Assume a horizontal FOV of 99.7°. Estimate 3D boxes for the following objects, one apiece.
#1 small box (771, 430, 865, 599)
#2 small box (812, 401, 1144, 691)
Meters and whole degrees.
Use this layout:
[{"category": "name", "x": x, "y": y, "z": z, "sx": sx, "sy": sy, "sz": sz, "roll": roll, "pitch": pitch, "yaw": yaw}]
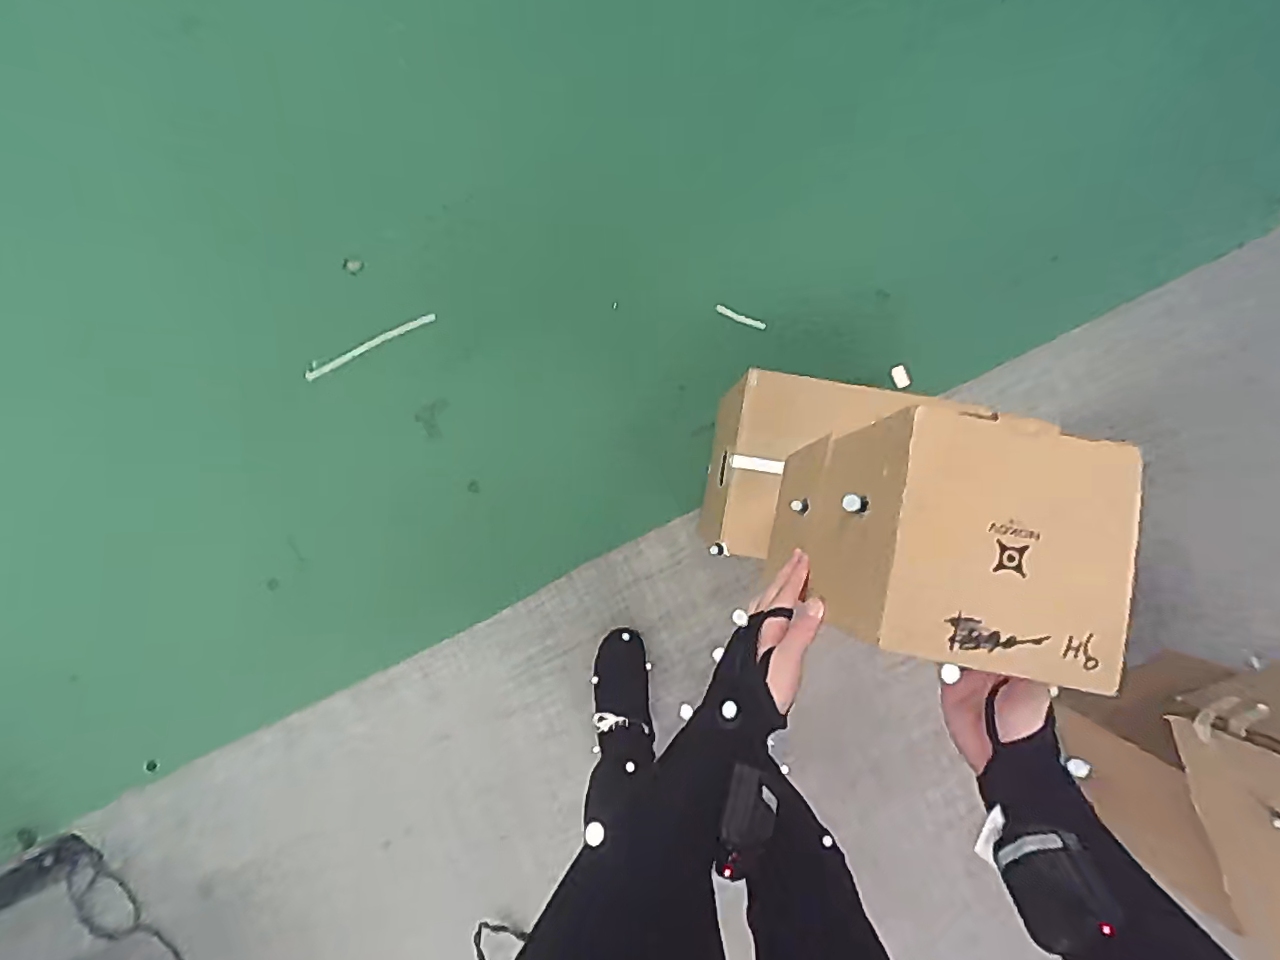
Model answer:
[{"category": "small box", "x": 0.259, "y": 0.056, "z": 0.617, "sx": 0.168, "sy": 0.176, "sz": 0.179, "roll": 12, "pitch": 85, "yaw": 1}, {"category": "small box", "x": 0.259, "y": 0.052, "z": 0.453, "sx": 0.168, "sy": 0.176, "sz": 0.179, "roll": 11, "pitch": 84, "yaw": 0}]
